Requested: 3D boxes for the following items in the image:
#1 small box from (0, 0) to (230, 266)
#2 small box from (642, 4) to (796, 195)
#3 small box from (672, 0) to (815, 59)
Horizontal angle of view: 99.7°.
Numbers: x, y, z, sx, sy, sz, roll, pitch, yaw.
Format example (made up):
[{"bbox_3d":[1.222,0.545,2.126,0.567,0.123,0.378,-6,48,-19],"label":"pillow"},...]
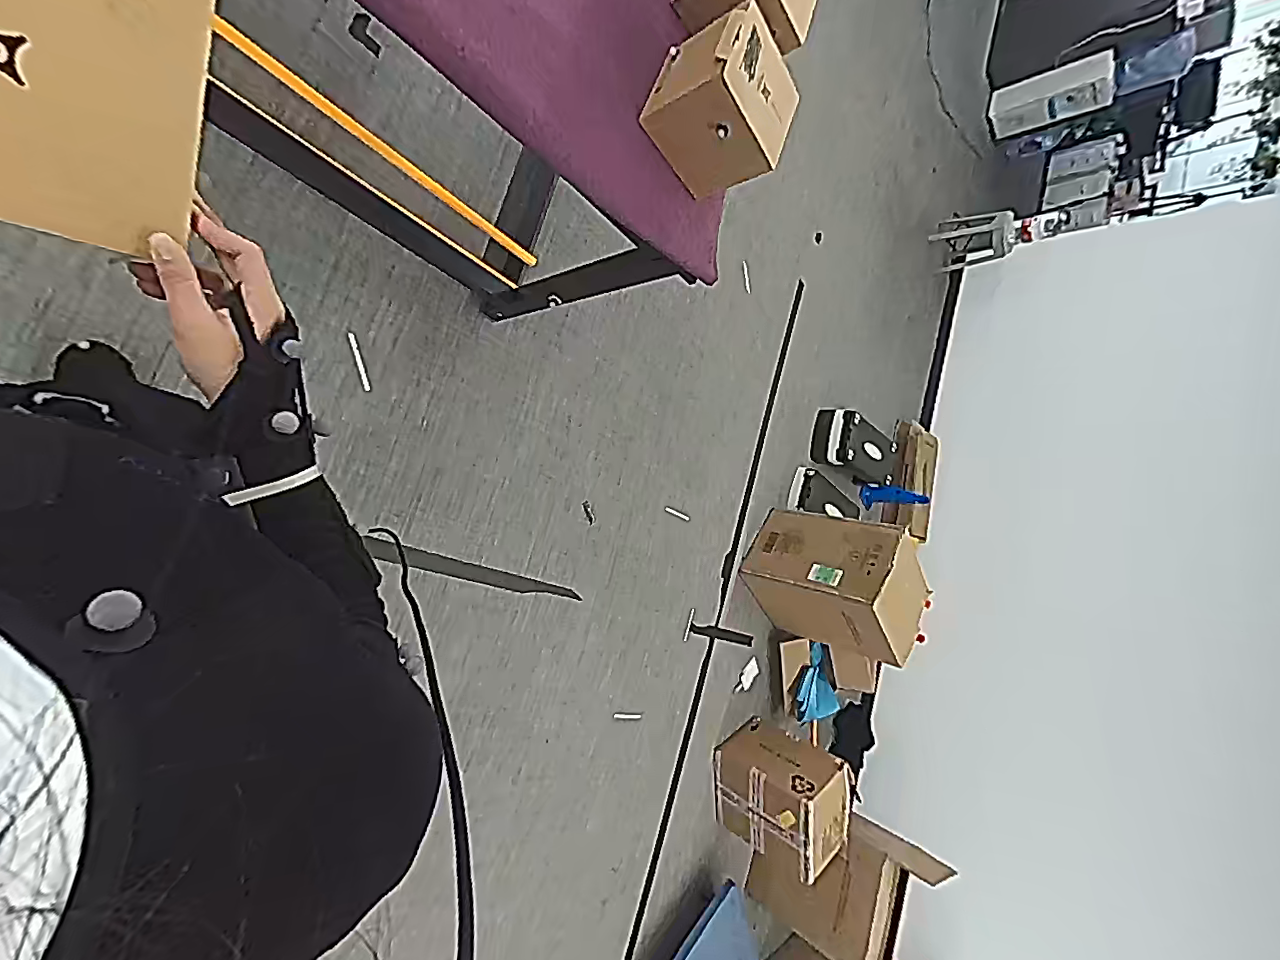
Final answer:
[{"bbox_3d":[-0.375,-0.245,0.319,0.179,0.176,0.168,5,106,-46],"label":"small box"},{"bbox_3d":[0.132,-0.620,0.909,0.179,0.176,0.168,34,70,-42],"label":"small box"},{"bbox_3d":[0.185,-0.848,0.934,0.179,0.176,0.168,26,77,-44],"label":"small box"}]
